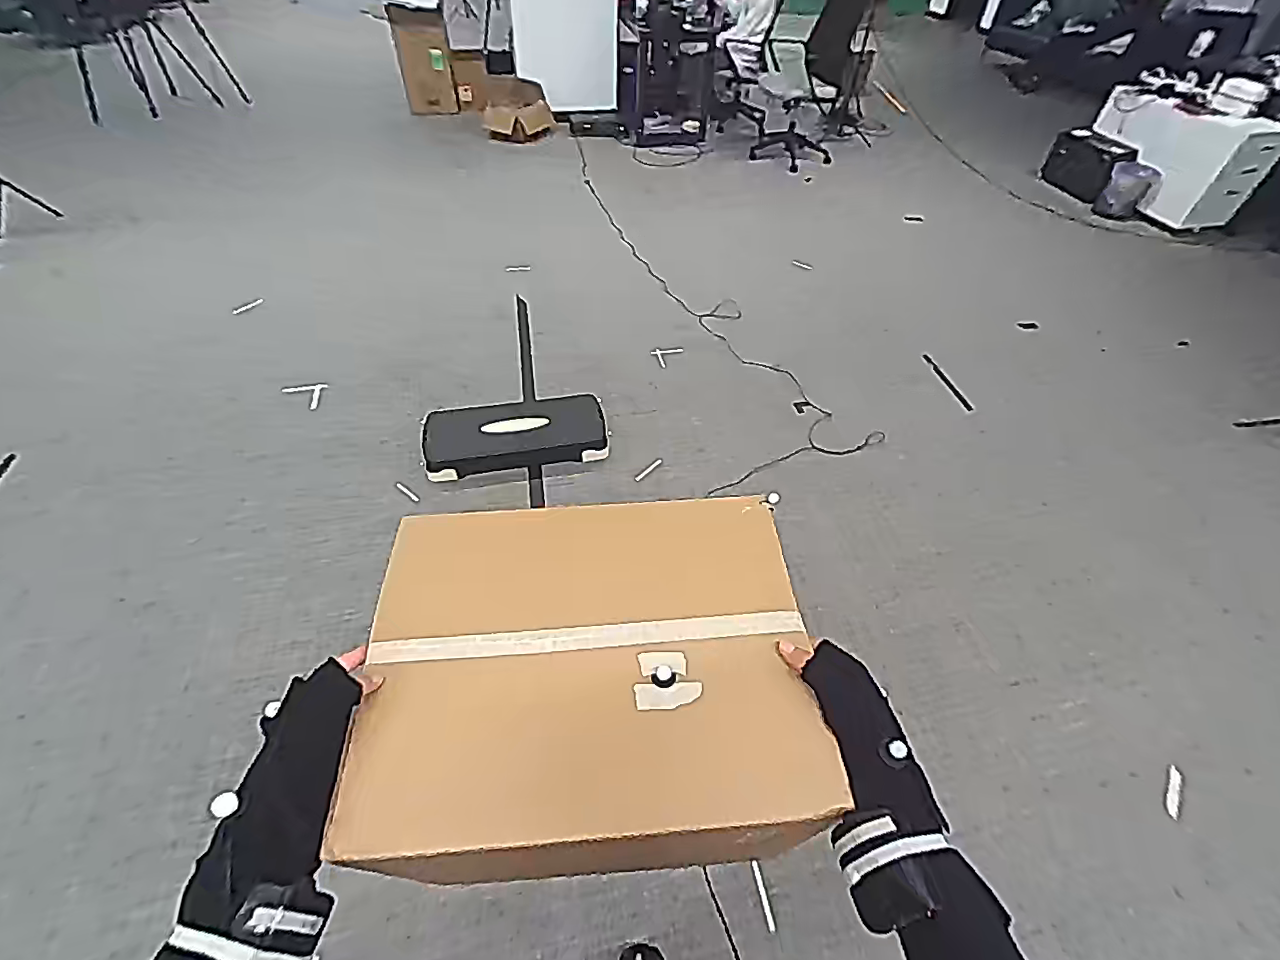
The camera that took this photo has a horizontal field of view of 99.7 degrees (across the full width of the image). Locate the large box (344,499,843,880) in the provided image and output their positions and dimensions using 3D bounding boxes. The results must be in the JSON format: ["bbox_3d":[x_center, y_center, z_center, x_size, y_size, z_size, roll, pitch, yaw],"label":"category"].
[{"bbox_3d":[-0.045,0.246,0.631,0.408,0.320,0.320,-3,50,-3],"label":"large box"}]
